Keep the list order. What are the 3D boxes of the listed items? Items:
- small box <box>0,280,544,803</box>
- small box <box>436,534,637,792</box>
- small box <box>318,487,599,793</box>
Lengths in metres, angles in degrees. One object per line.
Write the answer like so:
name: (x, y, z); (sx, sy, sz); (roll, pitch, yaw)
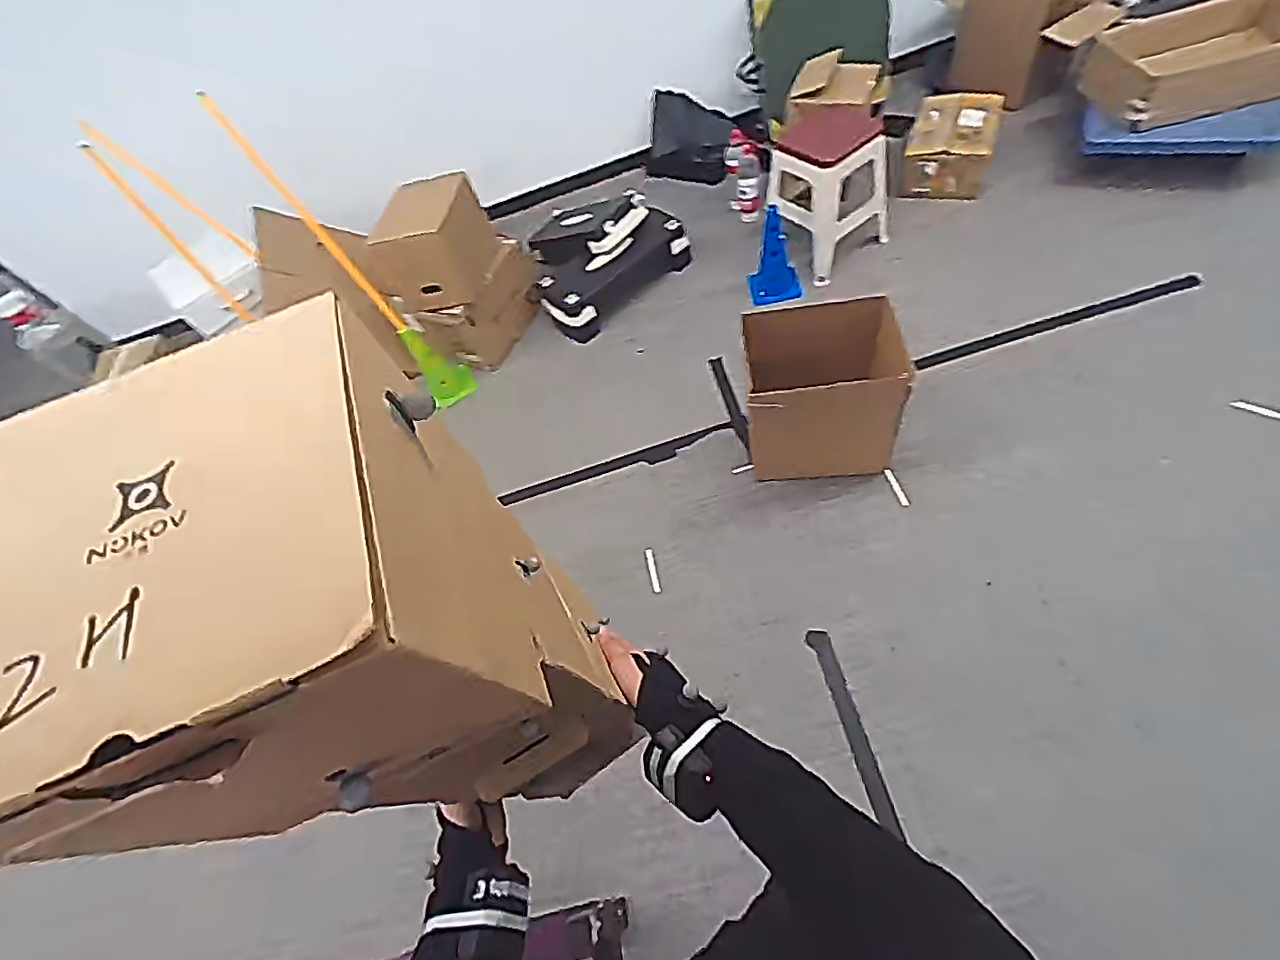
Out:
small box: (-0.166, 0.042, 0.273); (0.168, 0.176, 0.179); (-23, 60, -3)
small box: (-0.120, 0.191, 0.561); (0.168, 0.176, 0.179); (-30, 60, -6)
small box: (-0.149, 0.112, 0.421); (0.168, 0.176, 0.179); (-28, 60, -6)
